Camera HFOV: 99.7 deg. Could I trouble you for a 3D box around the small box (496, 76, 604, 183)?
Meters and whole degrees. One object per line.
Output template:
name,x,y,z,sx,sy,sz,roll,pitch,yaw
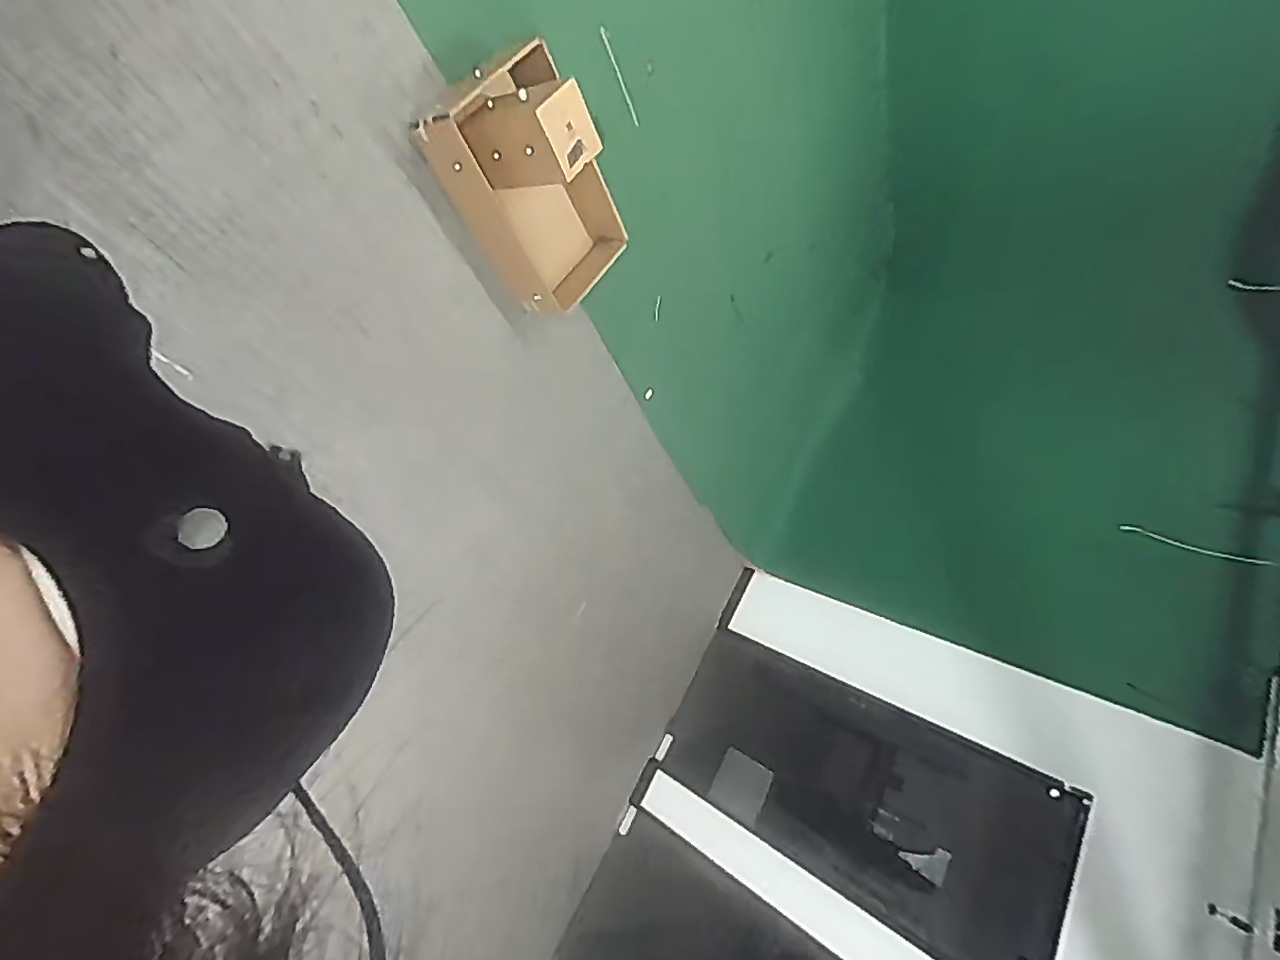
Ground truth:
small box,-0.230,-0.890,1.388,0.168,0.176,0.179,-56,141,-21

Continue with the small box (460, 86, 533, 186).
small box,-0.355,-0.936,1.484,0.168,0.176,0.179,-56,143,-20
